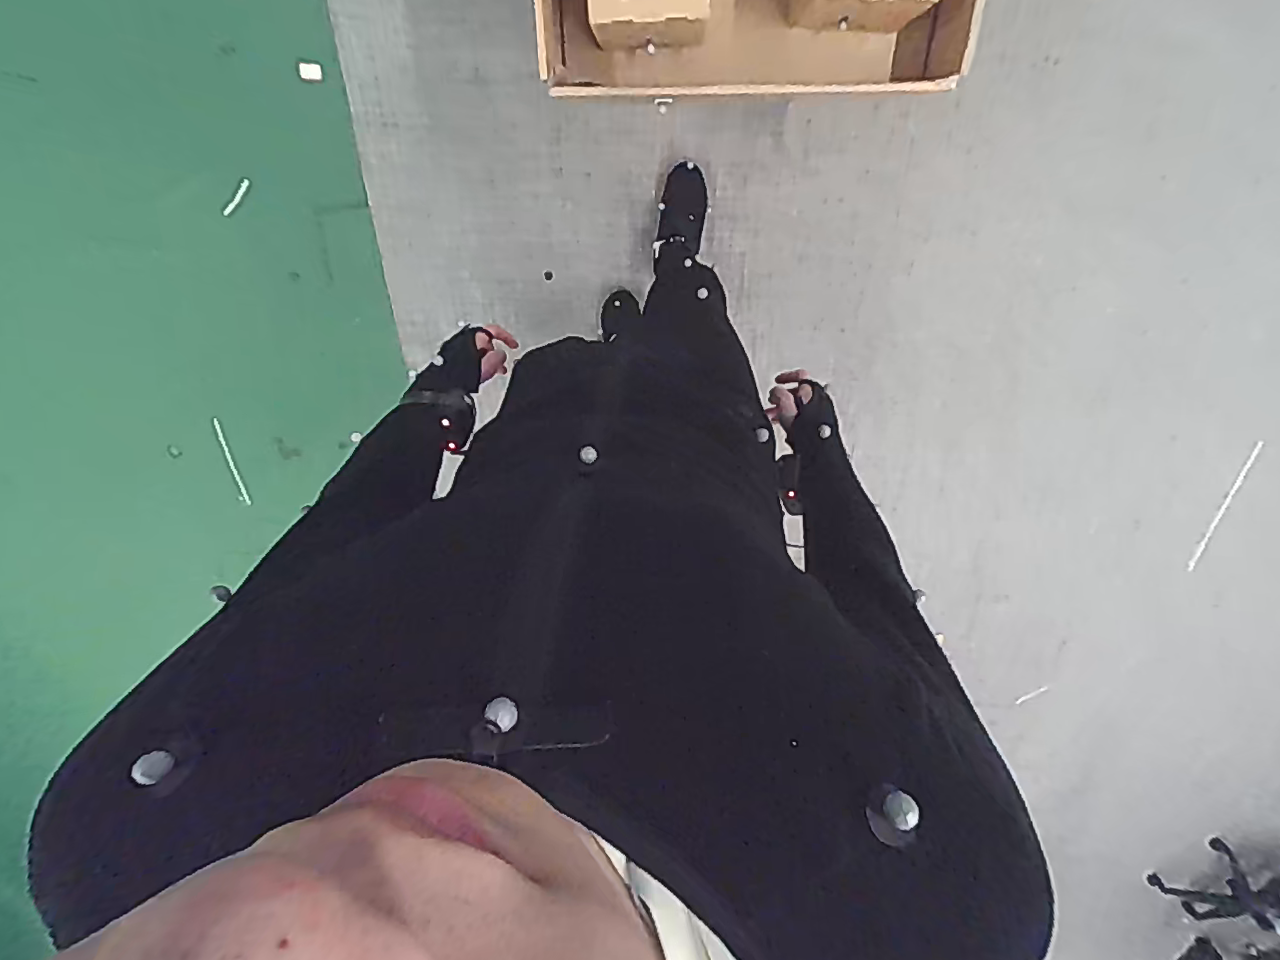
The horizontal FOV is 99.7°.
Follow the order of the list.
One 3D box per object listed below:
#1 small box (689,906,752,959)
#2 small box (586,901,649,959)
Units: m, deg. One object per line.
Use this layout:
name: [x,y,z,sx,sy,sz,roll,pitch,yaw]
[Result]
small box: [0.225,1.342,1.530,0.168,0.176,0.179,-1,119,3]
small box: [-0.060,1.344,1.544,0.168,0.176,0.179,-2,118,2]
